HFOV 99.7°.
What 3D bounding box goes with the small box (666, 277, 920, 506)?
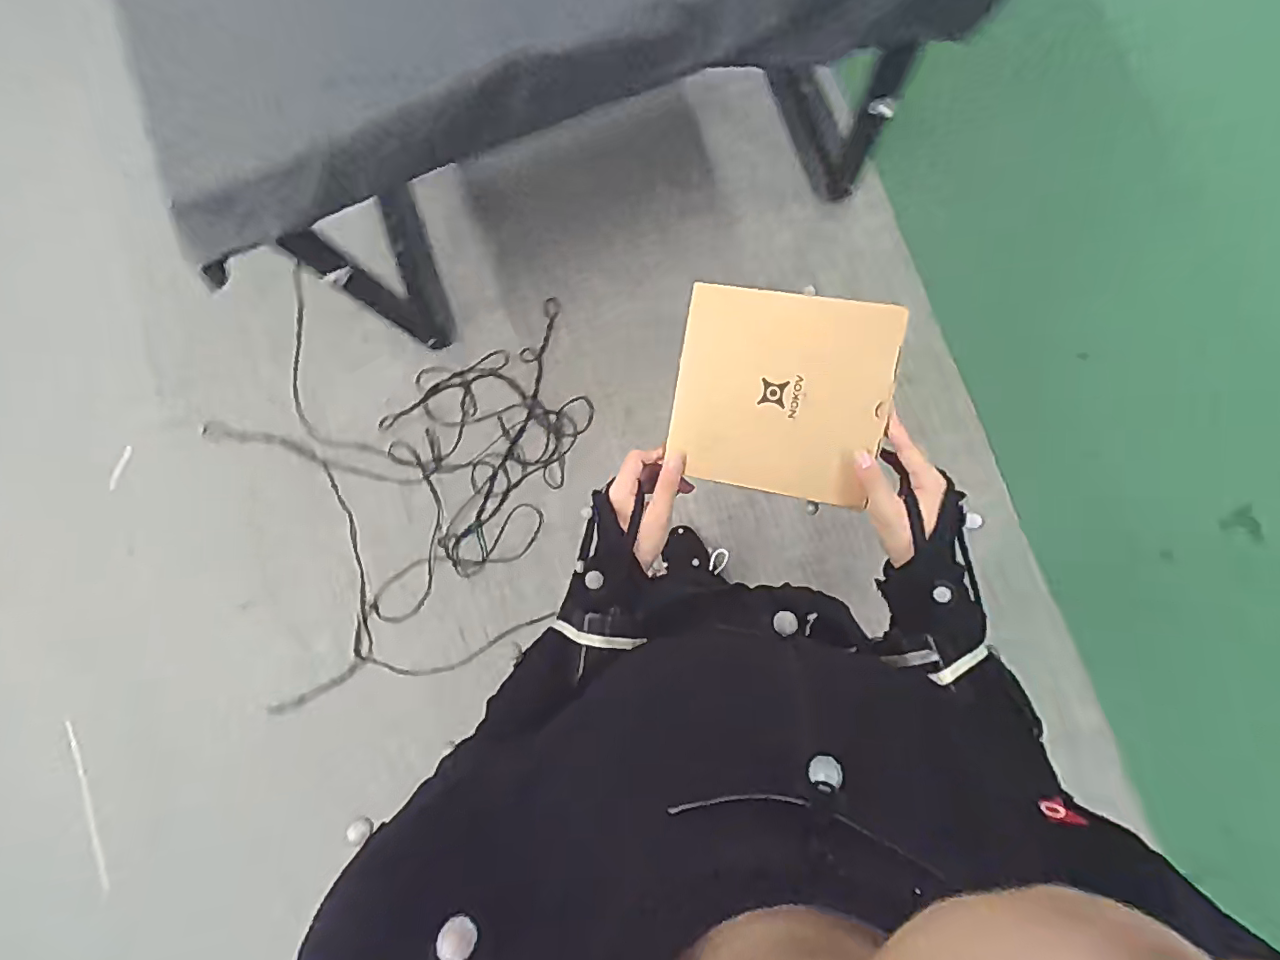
[{"bbox_3d":[0.138,-0.080,0.521,0.179,0.176,0.168,12,98,13],"label":"small box"}]
